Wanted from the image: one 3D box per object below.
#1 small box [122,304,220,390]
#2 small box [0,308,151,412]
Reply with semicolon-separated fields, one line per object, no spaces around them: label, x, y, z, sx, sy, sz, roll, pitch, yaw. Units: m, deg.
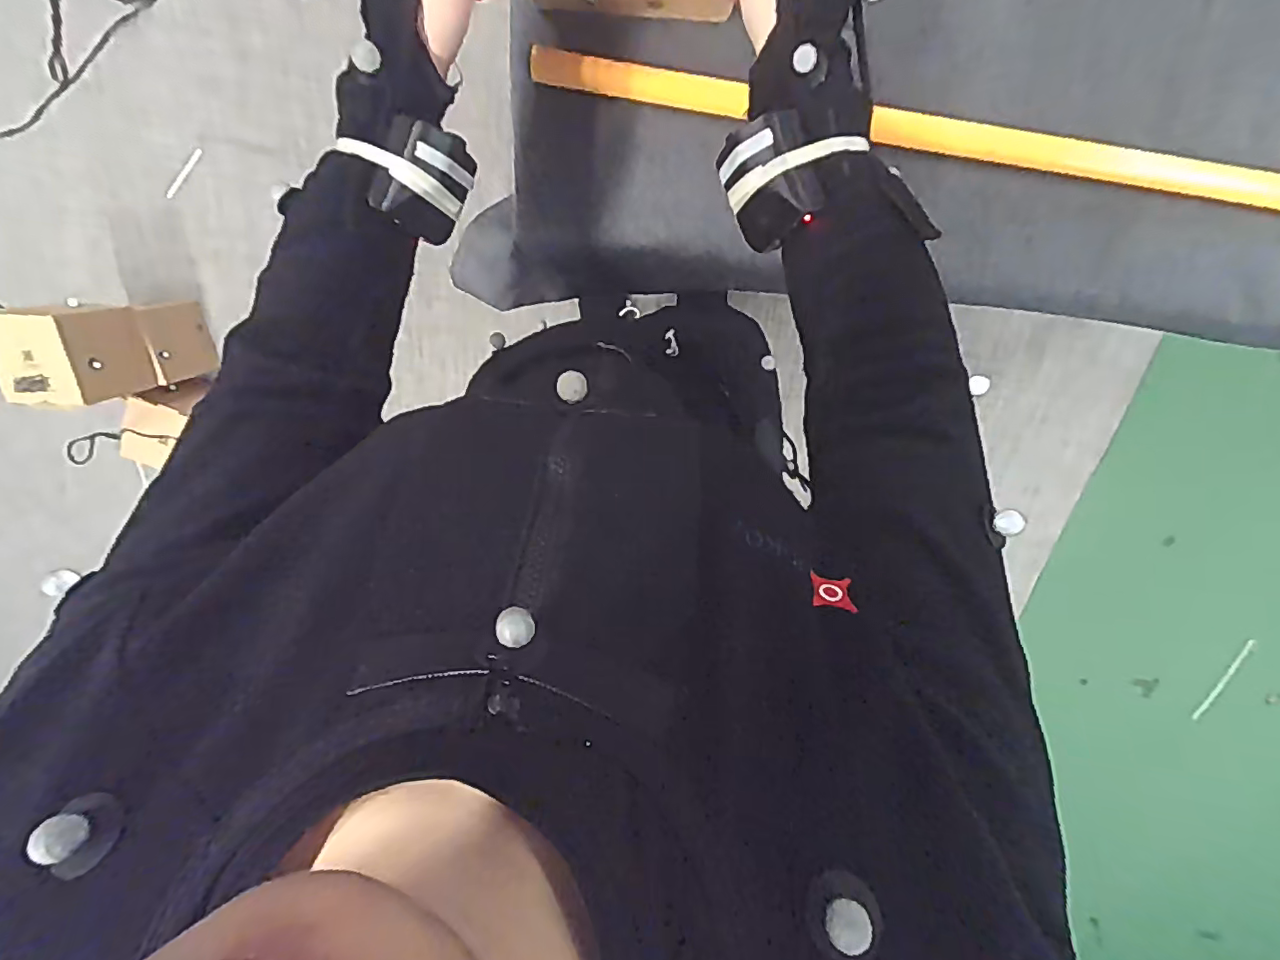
small box;-1.151;-0.310;1.265;0.179;0.176;0.168;-3;117;6
small box;-1.167;-0.251;1.107;0.168;0.176;0.179;3;113;1
